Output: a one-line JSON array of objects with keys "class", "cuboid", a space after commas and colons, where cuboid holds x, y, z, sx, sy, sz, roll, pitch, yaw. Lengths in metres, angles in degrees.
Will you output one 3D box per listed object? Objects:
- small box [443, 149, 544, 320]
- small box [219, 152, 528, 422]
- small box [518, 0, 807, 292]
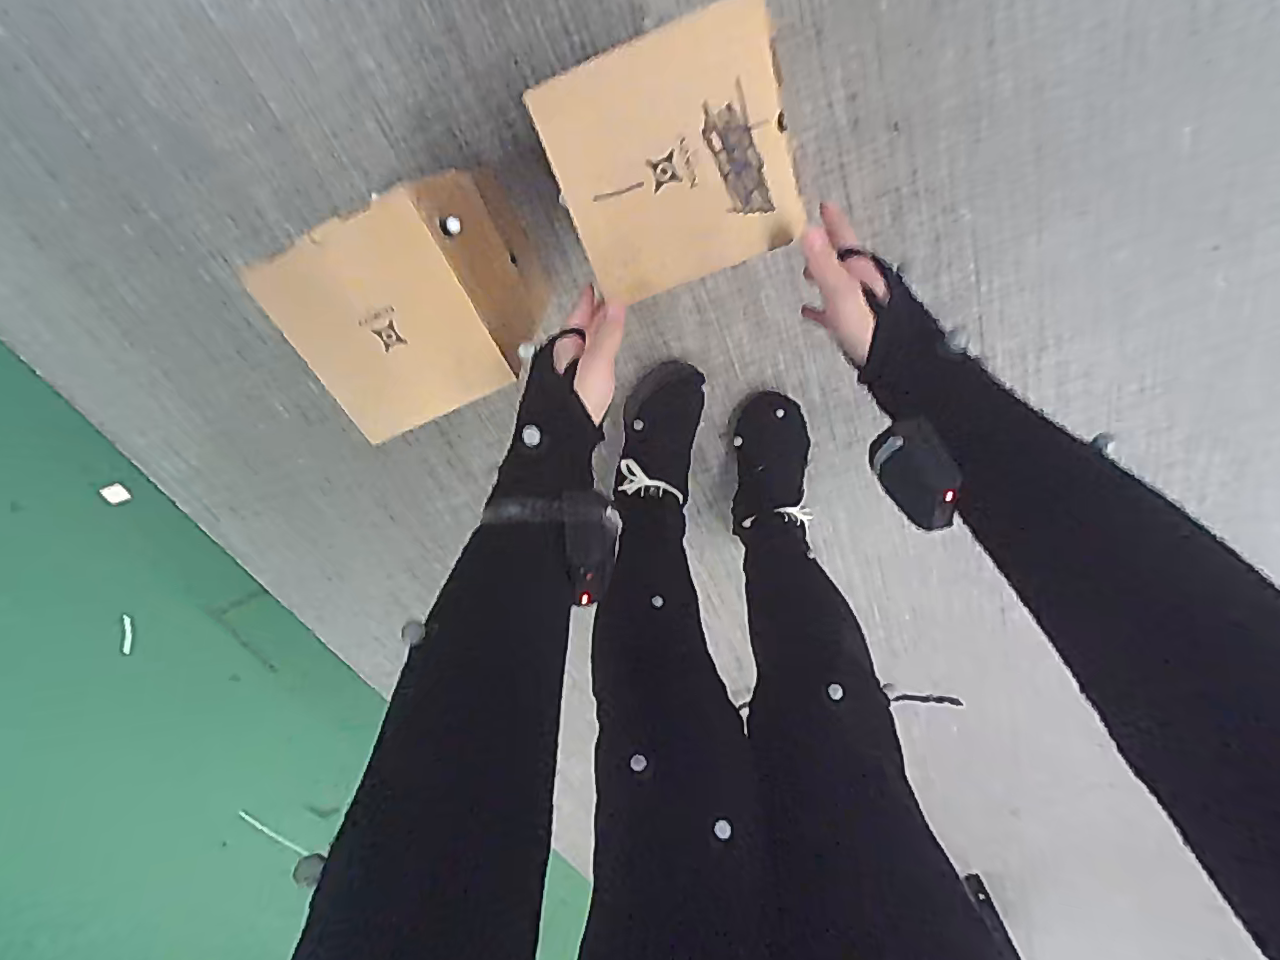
[{"class": "small box", "cuboid": [-0.229, -0.276, 0.655, 0.168, 0.176, 0.179, -18, 121, 9]}, {"class": "small box", "cuboid": [-0.226, -0.188, 0.518, 0.168, 0.176, 0.179, -19, 120, 11]}, {"class": "small box", "cuboid": [0.022, -0.284, 0.456, 0.179, 0.176, 0.168, -16, 121, 10]}]
